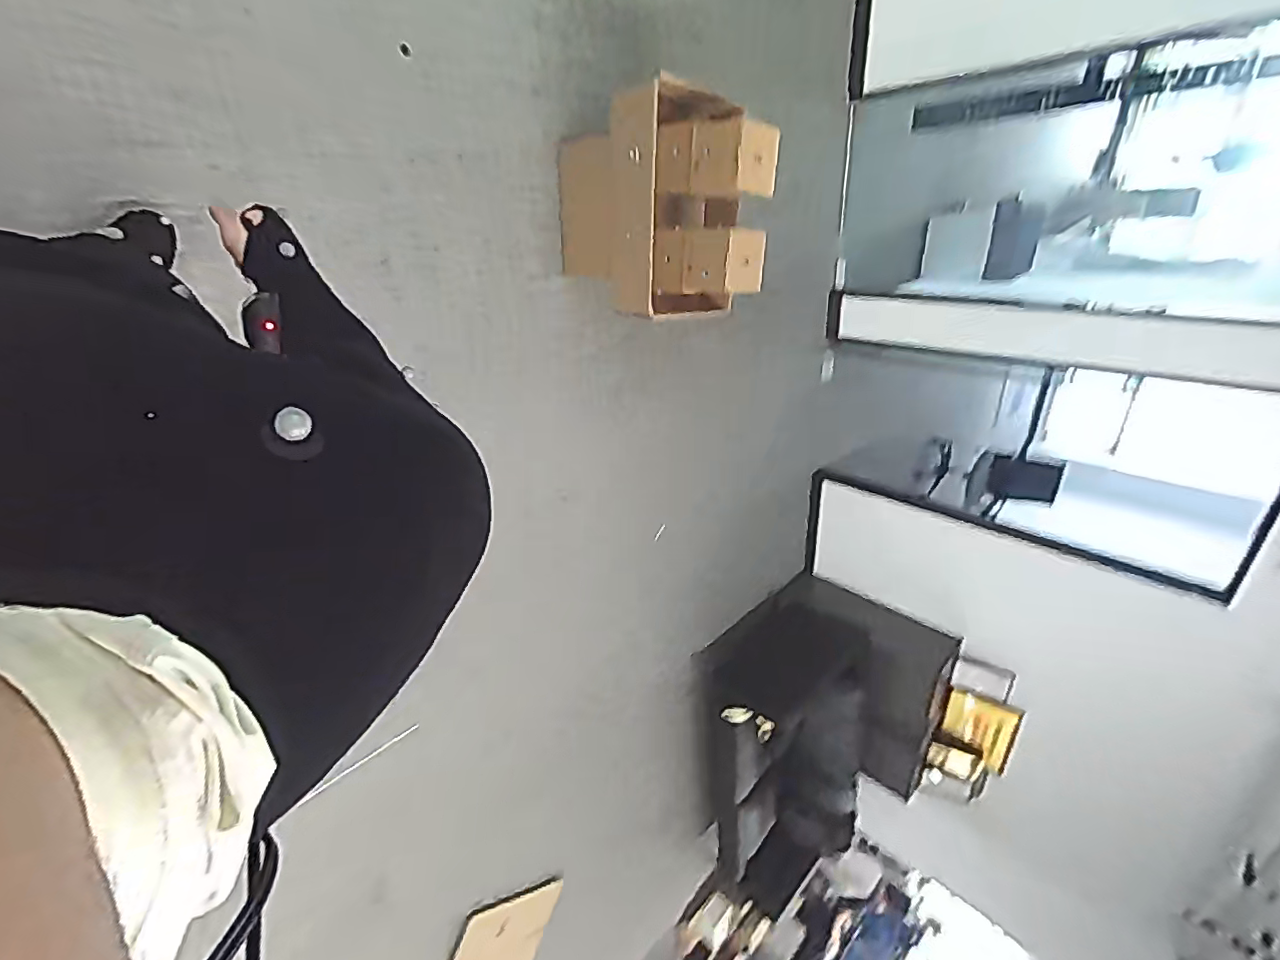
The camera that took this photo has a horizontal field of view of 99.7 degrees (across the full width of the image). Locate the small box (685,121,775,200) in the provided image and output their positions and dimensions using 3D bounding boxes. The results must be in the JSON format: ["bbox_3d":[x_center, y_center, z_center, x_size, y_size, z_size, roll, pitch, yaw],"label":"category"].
[{"bbox_3d":[0.249,-0.881,1.505,0.179,0.176,0.168,-19,121,-41],"label":"small box"}]

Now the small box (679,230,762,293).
[{"bbox_3d":[0.233,-0.640,1.591,0.179,0.176,0.168,-19,121,-42],"label":"small box"}]

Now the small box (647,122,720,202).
[{"bbox_3d":[0.136,-0.938,1.609,0.168,0.176,0.179,-18,120,-42],"label":"small box"}]
